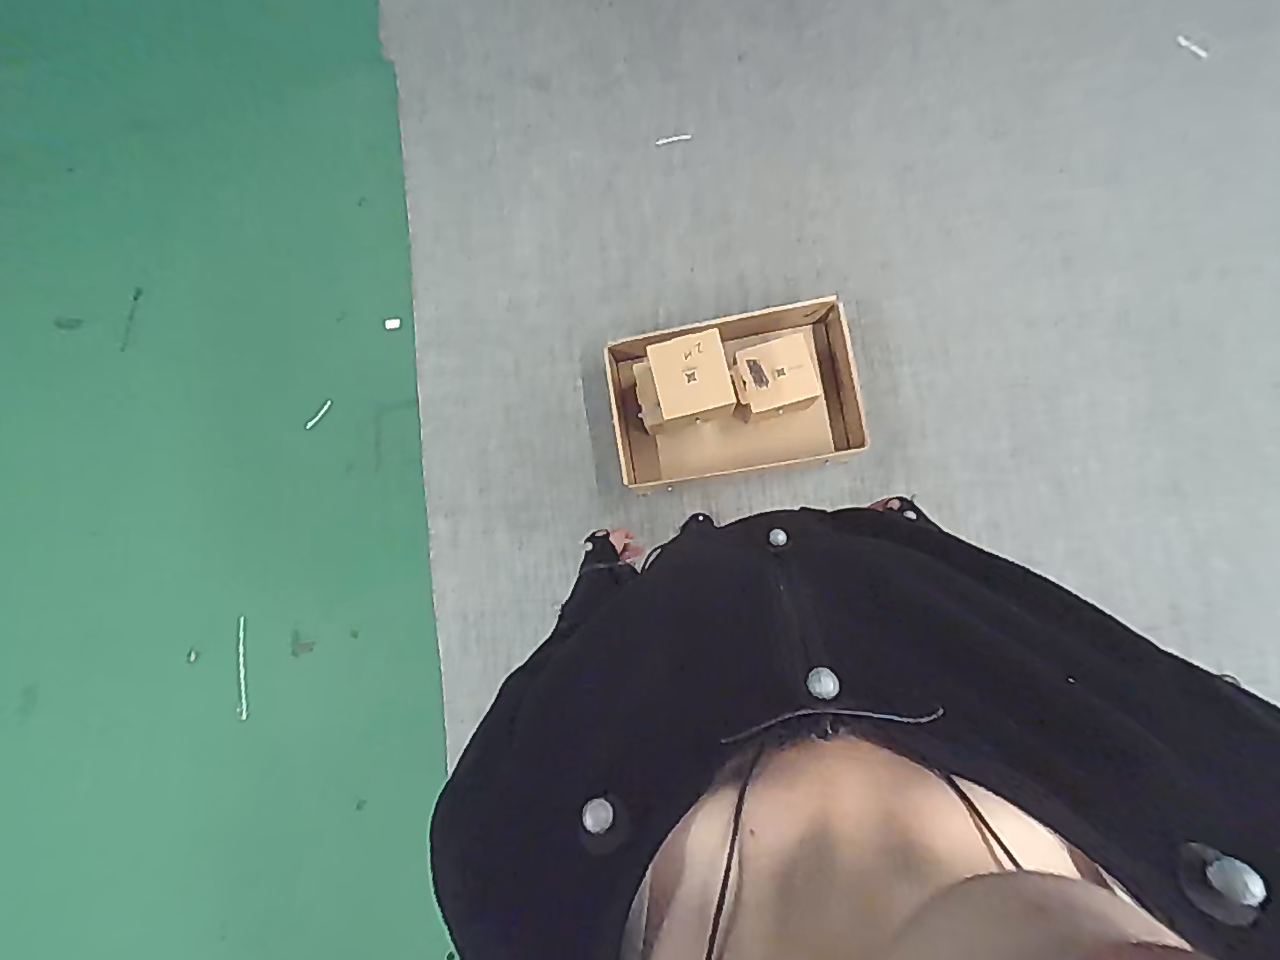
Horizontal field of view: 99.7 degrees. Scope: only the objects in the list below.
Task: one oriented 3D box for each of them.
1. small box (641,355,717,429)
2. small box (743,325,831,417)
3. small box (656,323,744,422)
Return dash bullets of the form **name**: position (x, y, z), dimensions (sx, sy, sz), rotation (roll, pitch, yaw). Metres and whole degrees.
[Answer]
- **small box**: position (0.113, -0.240, 1.436), dimensions (0.179, 0.176, 0.168), rotation (-12, 86, 6)
- **small box**: position (0.373, -0.273, 1.398), dimensions (0.179, 0.176, 0.168), rotation (-16, 84, 8)
- **small box**: position (0.141, -0.241, 1.268), dimensions (0.168, 0.176, 0.179), rotation (-14, 85, 5)
